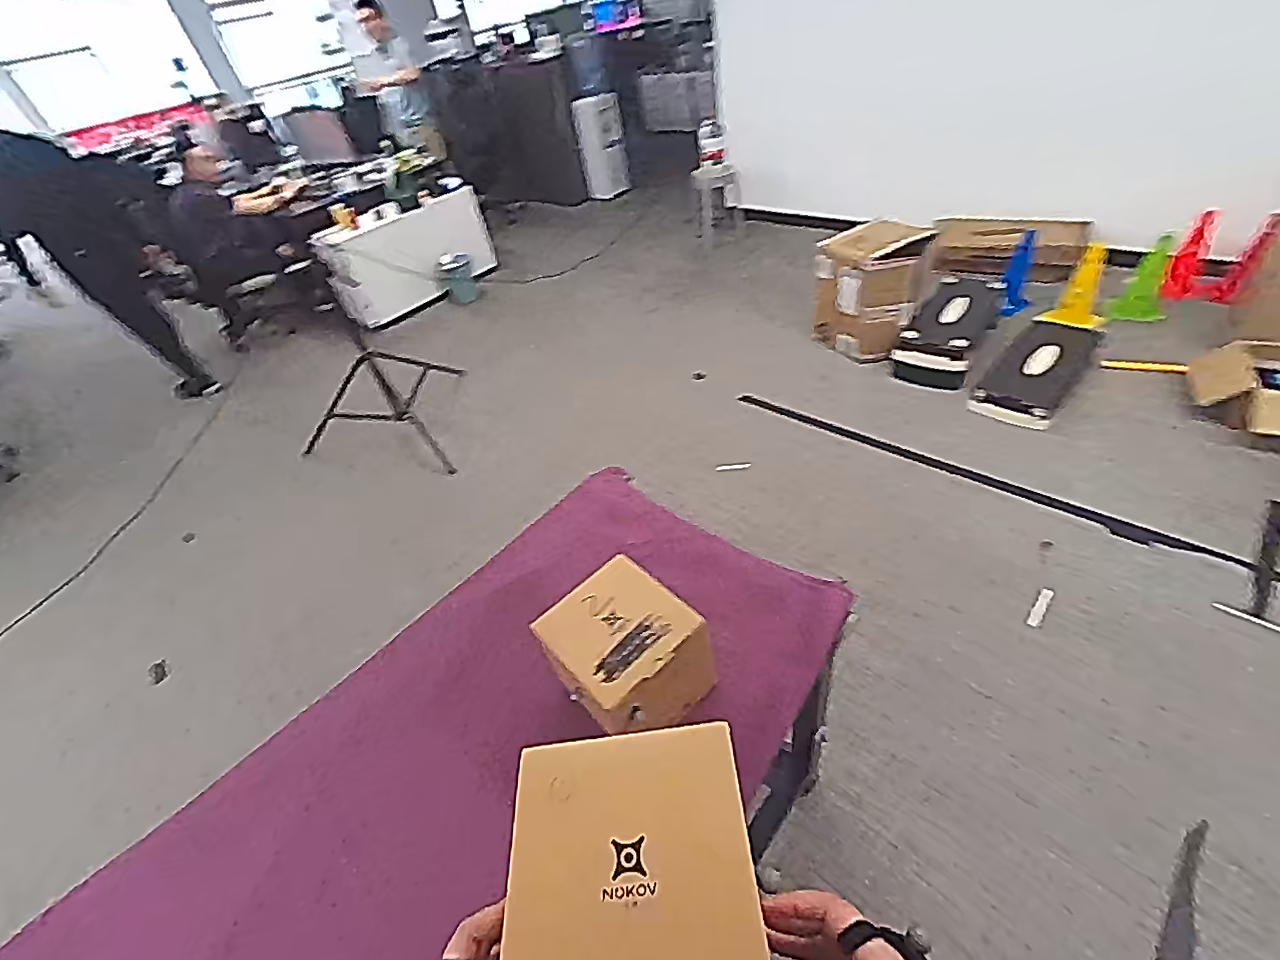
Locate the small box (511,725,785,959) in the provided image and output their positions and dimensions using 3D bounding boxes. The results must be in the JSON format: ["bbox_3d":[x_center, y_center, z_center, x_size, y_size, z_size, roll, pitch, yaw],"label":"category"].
[{"bbox_3d":[0.012,0.314,0.406,0.168,0.176,0.179,-9,40,4],"label":"small box"}]
